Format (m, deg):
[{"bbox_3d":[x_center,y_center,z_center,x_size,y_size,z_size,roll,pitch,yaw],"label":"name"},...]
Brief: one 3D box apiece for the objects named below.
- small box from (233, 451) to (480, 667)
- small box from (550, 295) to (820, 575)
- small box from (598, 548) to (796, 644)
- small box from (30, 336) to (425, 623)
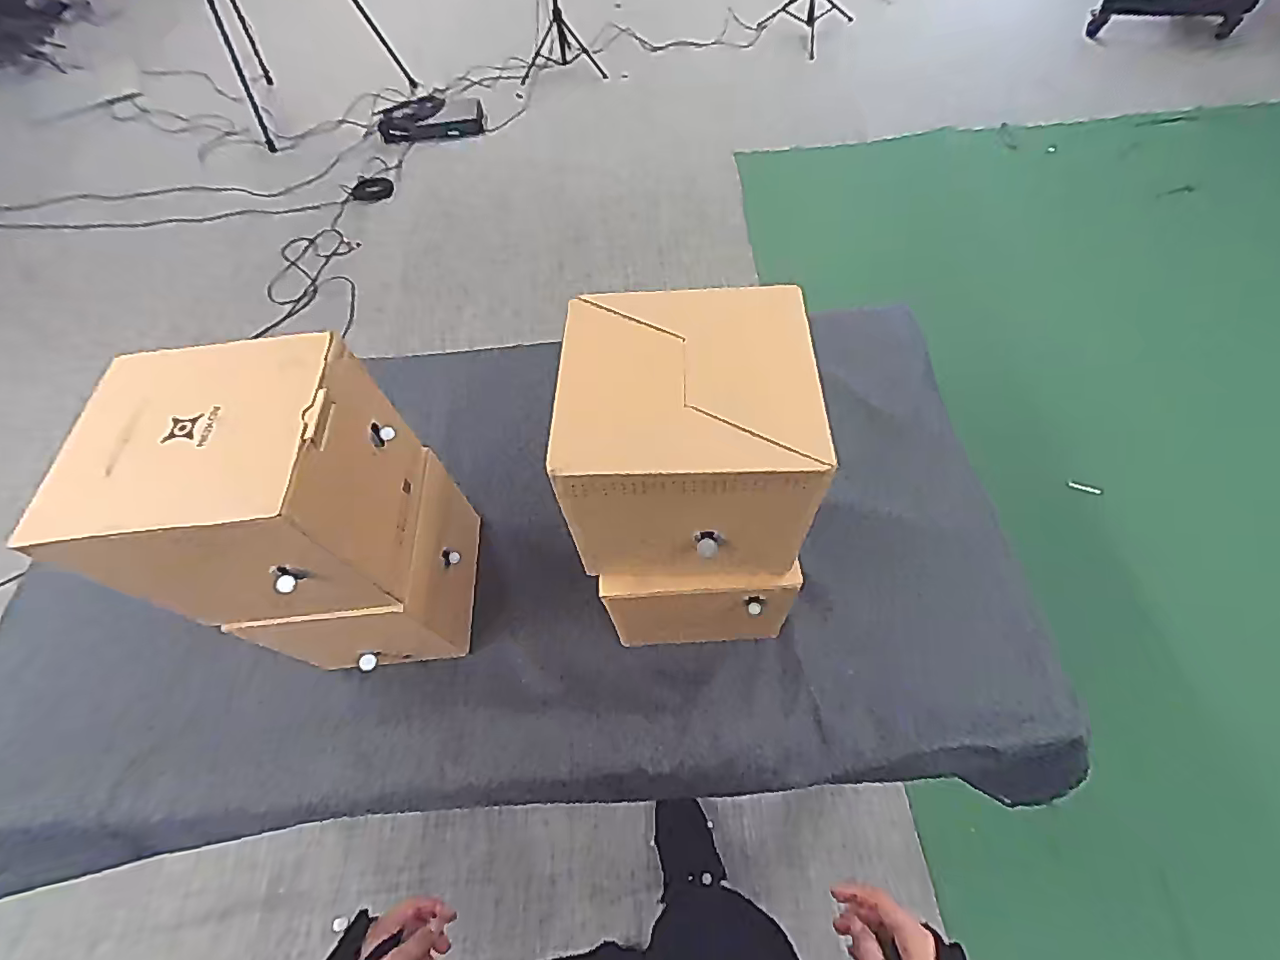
[{"bbox_3d":[-0.283,0.091,0.589,0.168,0.176,0.179,-6,59,1],"label":"small box"},{"bbox_3d":[0.037,-0.031,0.442,0.179,0.176,0.168,-1,58,4],"label":"small box"},{"bbox_3d":[0.053,0.069,0.576,0.179,0.176,0.168,-4,58,2],"label":"small box"},{"bbox_3d":[-0.301,0.008,0.450,0.179,0.176,0.168,-7,57,2],"label":"small box"}]
